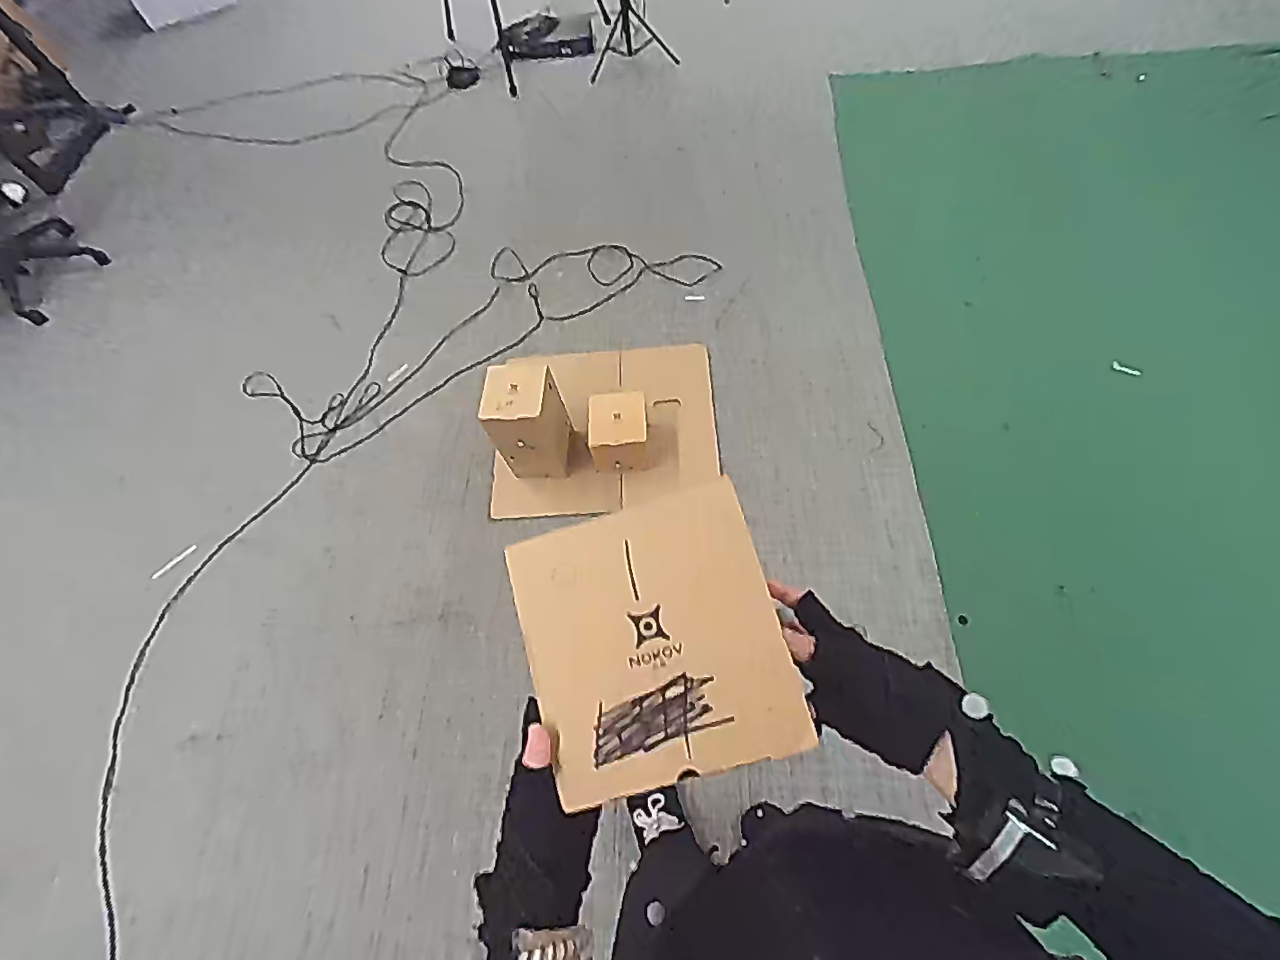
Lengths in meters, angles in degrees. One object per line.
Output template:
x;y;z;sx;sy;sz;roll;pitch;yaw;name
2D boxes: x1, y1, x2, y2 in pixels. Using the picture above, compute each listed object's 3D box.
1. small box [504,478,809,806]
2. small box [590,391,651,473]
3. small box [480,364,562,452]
0.018;0.115;0.426;0.168;0.176;0.179;-17;77;5;small box
-0.055;-0.140;1.606;0.168;0.176;0.179;-5;63;3;small box
-0.316;-0.194;1.473;0.168;0.176;0.179;-1;63;7;small box
